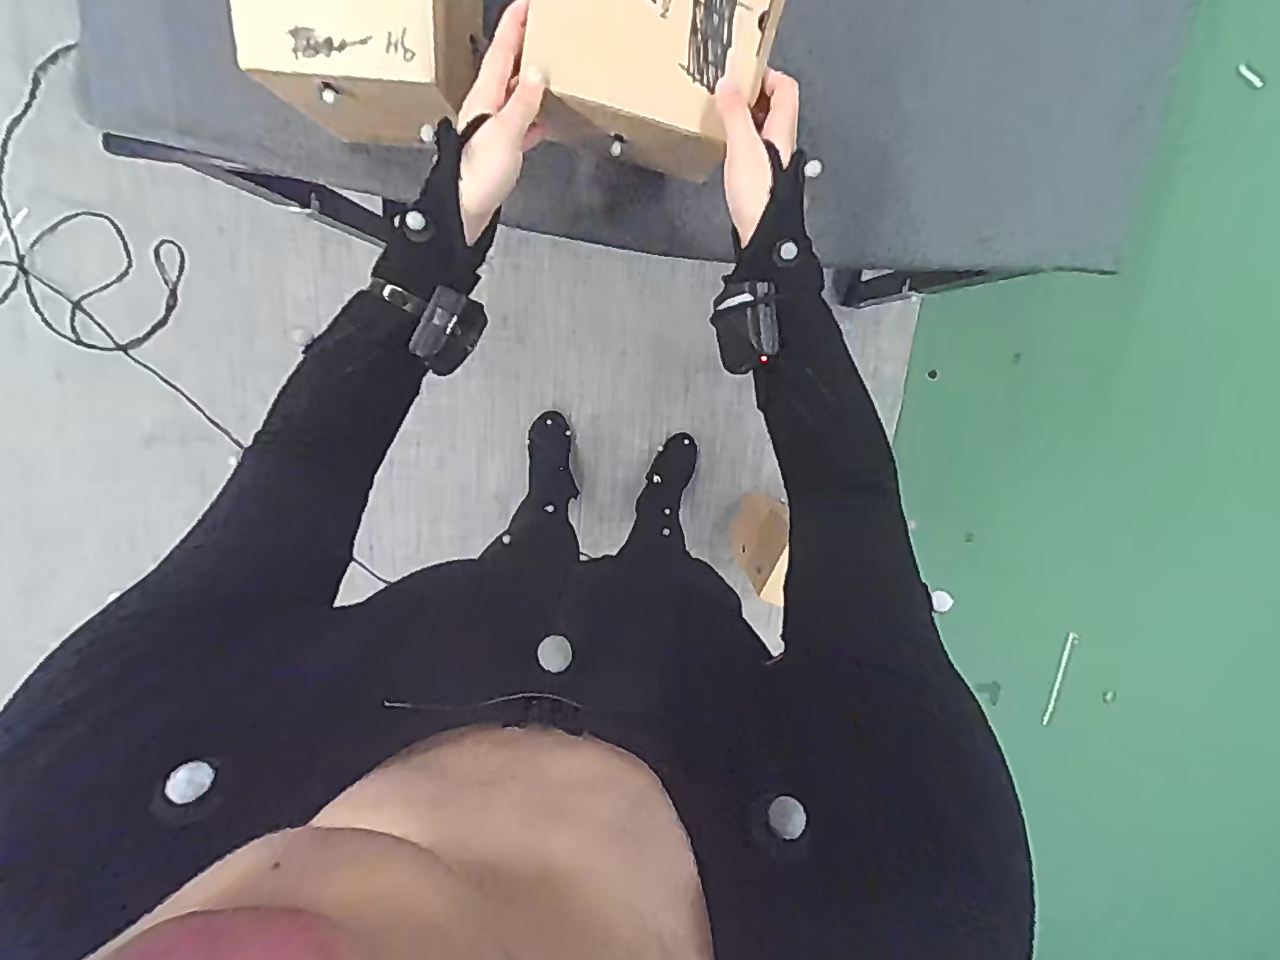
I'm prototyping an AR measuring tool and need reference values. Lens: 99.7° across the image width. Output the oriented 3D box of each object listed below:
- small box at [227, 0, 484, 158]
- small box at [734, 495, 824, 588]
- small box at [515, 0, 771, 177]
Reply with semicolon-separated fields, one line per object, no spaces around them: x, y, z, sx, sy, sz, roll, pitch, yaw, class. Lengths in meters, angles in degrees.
-0.253;-0.439;0.515;0.168;0.176;0.179;4;103;-1;small box
0.354;0.156;1.418;0.168;0.176;0.179;13;103;-4;small box
0.004;-0.383;0.470;0.179;0.176;0.168;12;108;-7;small box
